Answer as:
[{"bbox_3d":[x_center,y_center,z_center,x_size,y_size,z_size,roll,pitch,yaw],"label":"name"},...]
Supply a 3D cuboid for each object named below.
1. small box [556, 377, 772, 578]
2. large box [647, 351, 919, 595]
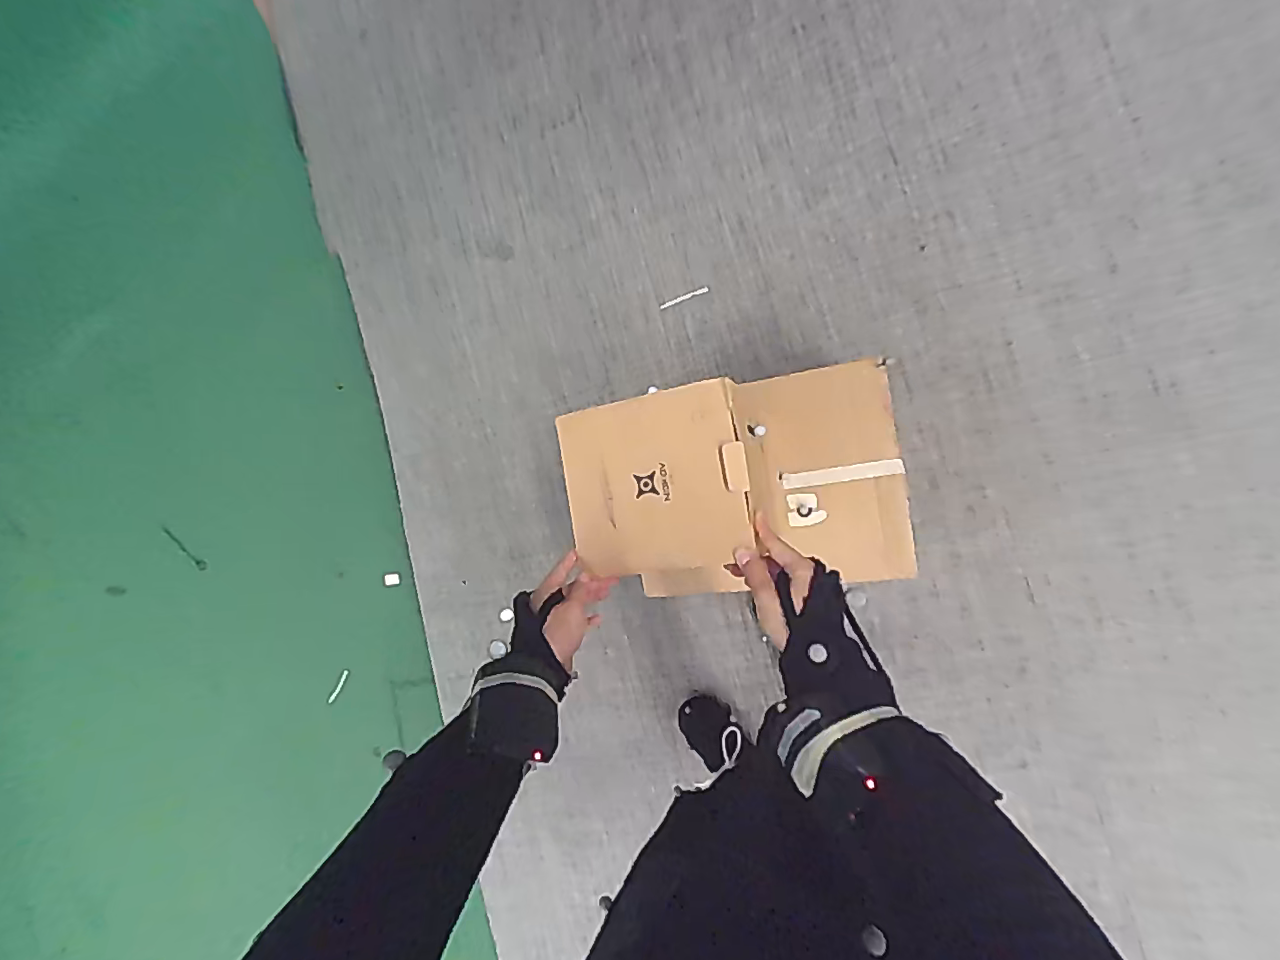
[{"bbox_3d":[0.037,0.001,0.577,0.179,0.176,0.168,-12,85,22],"label":"small box"},{"bbox_3d":[0.225,0.002,0.953,0.408,0.320,0.320,-10,88,19],"label":"large box"}]
